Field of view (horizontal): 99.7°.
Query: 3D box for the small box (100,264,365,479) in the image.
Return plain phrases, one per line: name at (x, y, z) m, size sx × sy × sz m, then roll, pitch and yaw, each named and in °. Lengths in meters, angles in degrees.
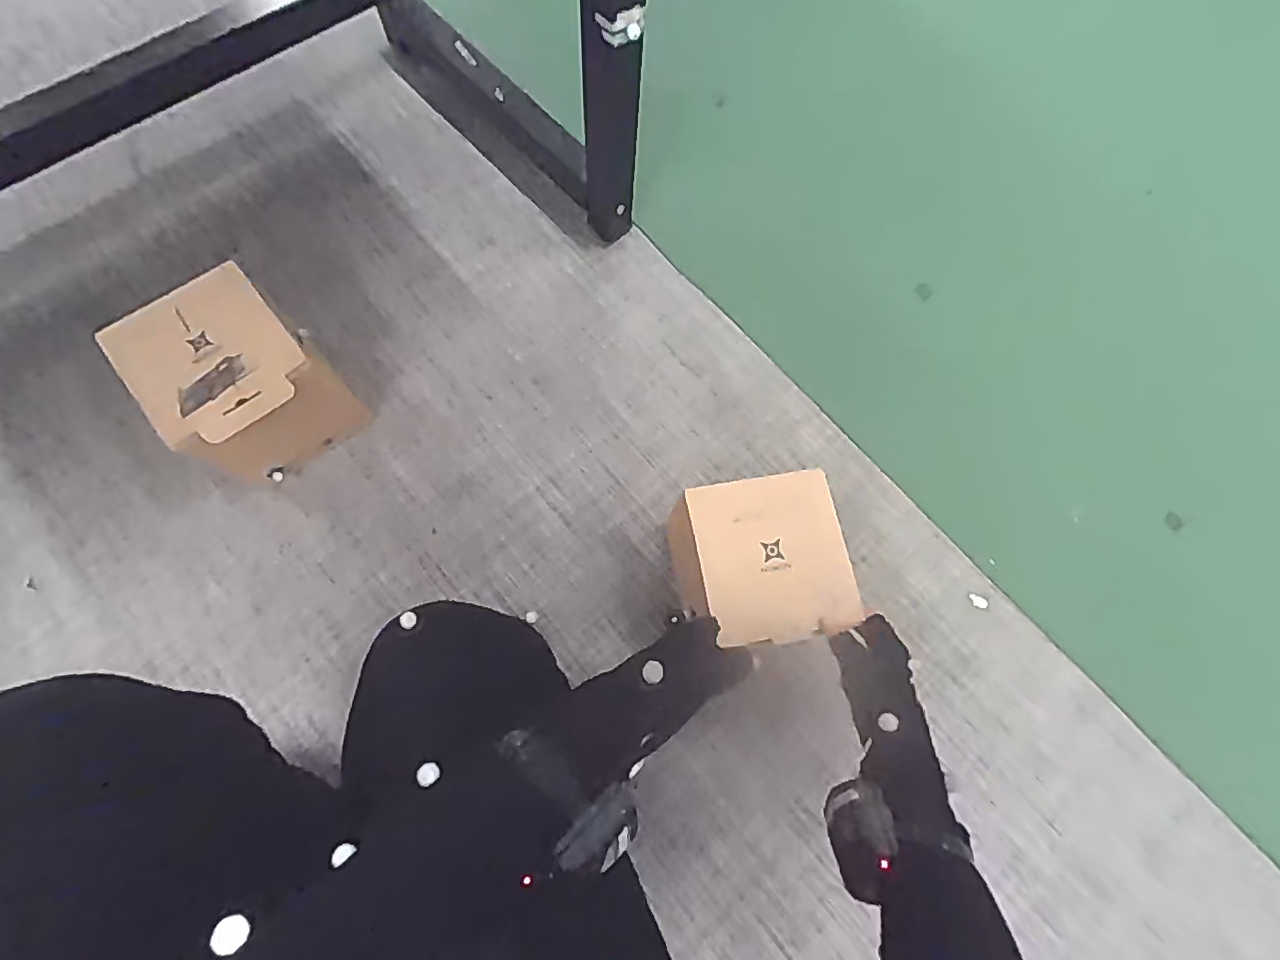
small box at (-0.487, -0.120, 0.676) m, size 0.168 × 0.176 × 0.179 m, roll -38°, pitch 79°, yaw -13°
